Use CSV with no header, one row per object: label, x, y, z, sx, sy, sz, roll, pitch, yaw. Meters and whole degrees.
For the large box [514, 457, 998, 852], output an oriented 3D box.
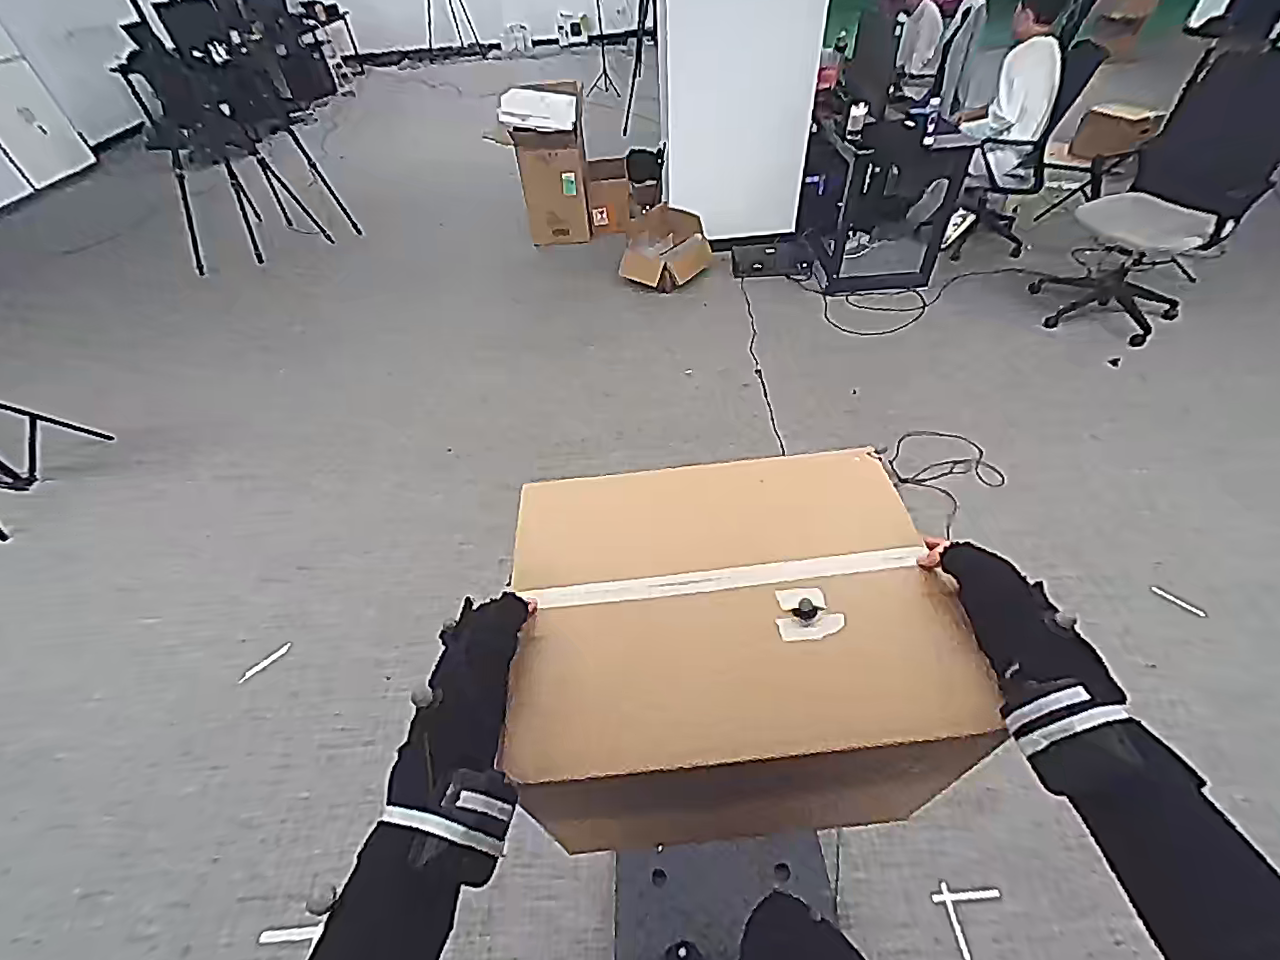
large box,0.090,0.208,0.640,0.408,0.320,0.320,-6,47,0
